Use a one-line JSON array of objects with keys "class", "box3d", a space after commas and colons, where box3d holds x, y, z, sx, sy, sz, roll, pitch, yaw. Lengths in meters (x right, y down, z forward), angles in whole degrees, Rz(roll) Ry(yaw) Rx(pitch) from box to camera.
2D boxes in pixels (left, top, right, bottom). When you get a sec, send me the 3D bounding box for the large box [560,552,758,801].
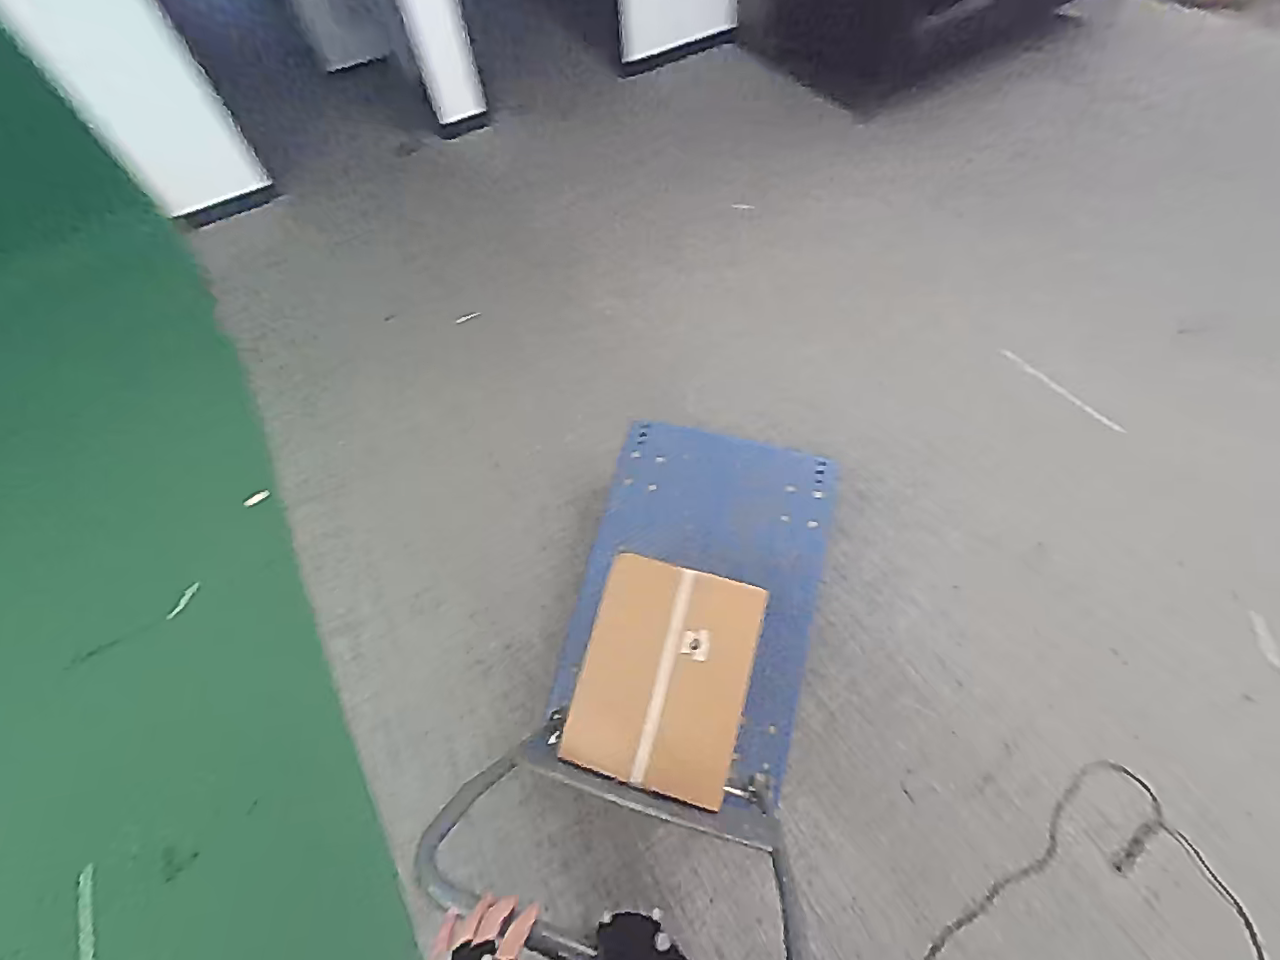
[{"class": "large box", "box3d": [0.059, 0.413, 1.193, 0.320, 0.320, 0.408, 13, 74, 11]}]
